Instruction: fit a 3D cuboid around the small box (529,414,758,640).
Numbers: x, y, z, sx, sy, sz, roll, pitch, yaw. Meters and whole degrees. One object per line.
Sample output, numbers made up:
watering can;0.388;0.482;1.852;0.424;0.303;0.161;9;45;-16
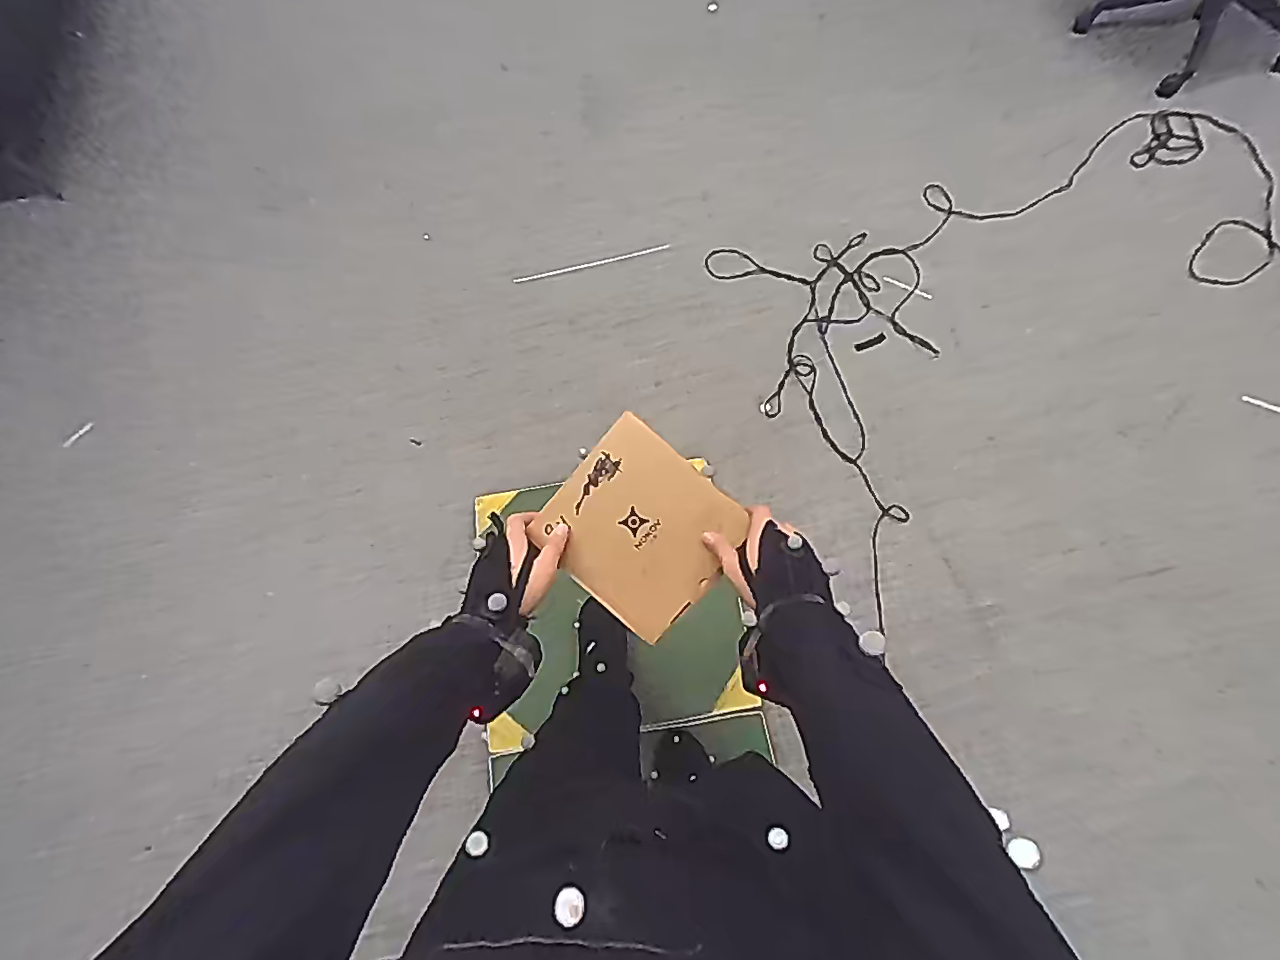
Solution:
small box;0.008;0.046;0.623;0.179;0.176;0.168;41;93;3
